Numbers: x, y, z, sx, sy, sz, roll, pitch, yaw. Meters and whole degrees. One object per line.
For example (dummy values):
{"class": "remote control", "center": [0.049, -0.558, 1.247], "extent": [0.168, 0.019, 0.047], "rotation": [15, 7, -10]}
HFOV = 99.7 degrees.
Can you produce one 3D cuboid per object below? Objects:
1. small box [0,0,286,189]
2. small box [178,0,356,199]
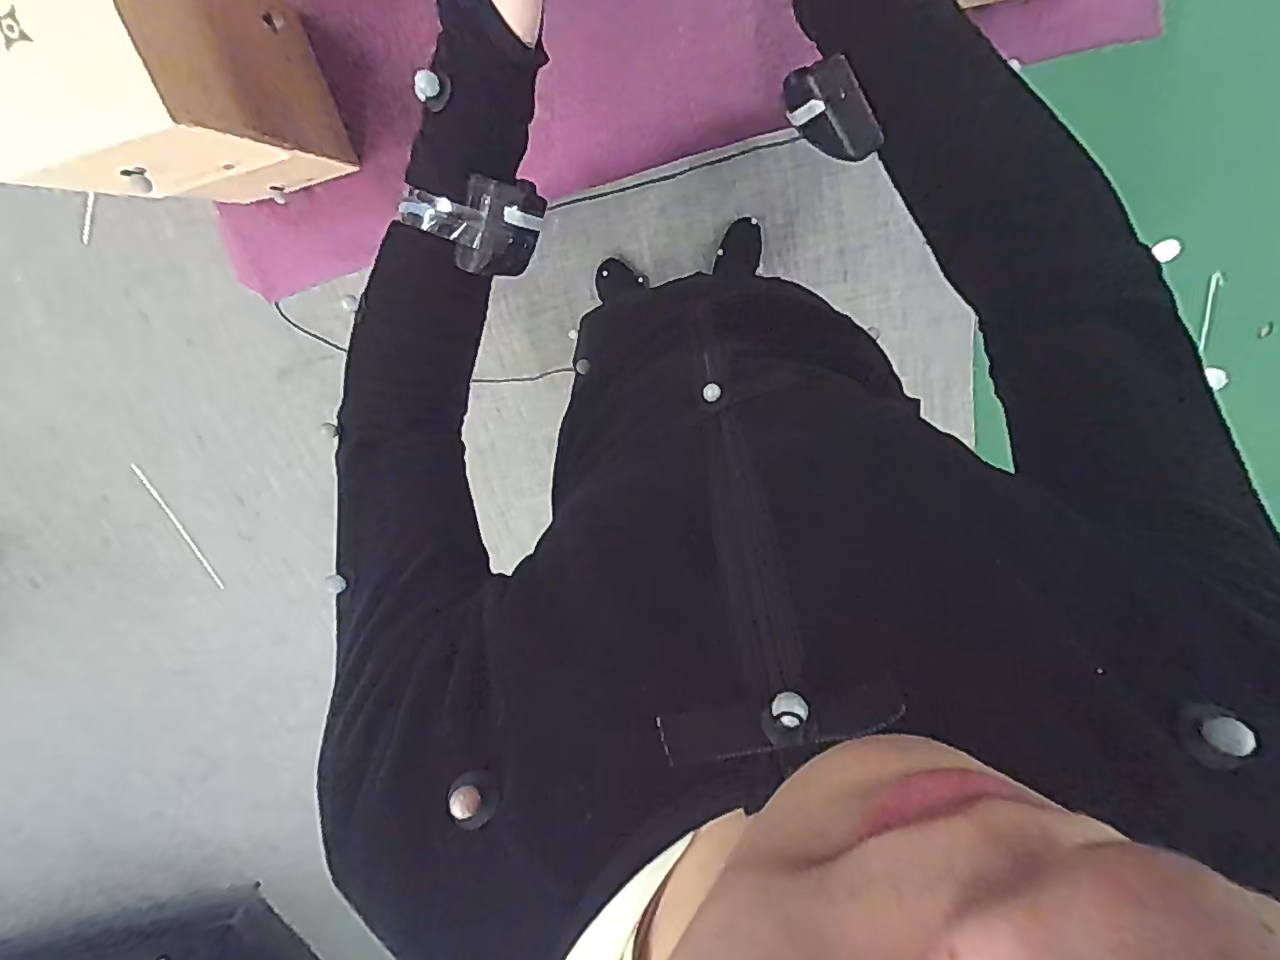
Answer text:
{"class": "small box", "center": [-0.455, -0.364, 0.462], "extent": [0.168, 0.176, 0.179], "rotation": [-13, 112, 6]}
{"class": "small box", "center": [-0.463, -0.435, 0.607], "extent": [0.168, 0.176, 0.179], "rotation": [-14, 114, 5]}
